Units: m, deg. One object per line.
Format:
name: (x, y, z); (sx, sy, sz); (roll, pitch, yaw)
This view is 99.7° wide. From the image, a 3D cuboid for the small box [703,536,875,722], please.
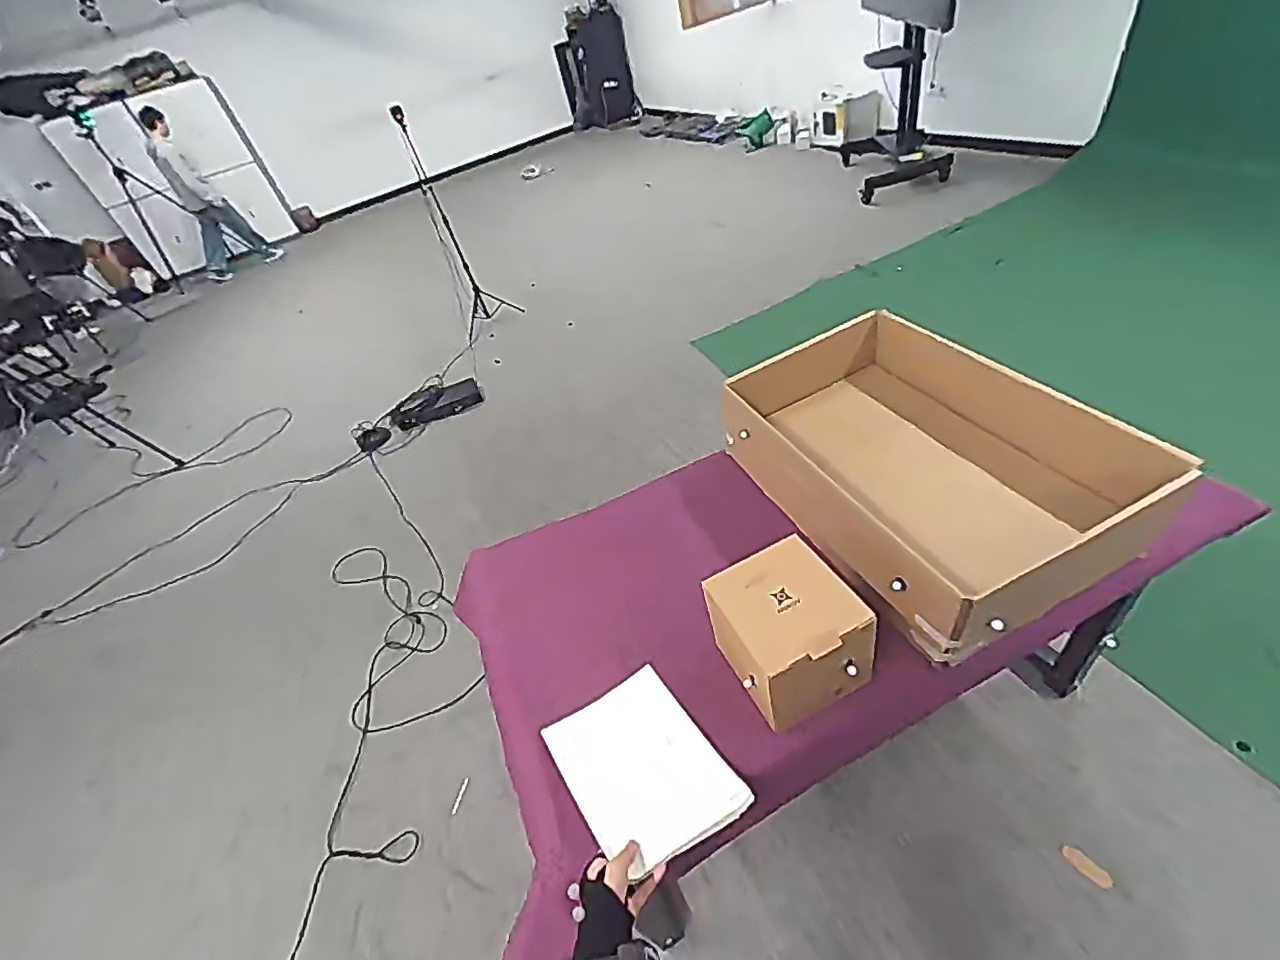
small box: (0.213, 0.220, 0.784); (0.168, 0.176, 0.179); (-25, 40, -9)
